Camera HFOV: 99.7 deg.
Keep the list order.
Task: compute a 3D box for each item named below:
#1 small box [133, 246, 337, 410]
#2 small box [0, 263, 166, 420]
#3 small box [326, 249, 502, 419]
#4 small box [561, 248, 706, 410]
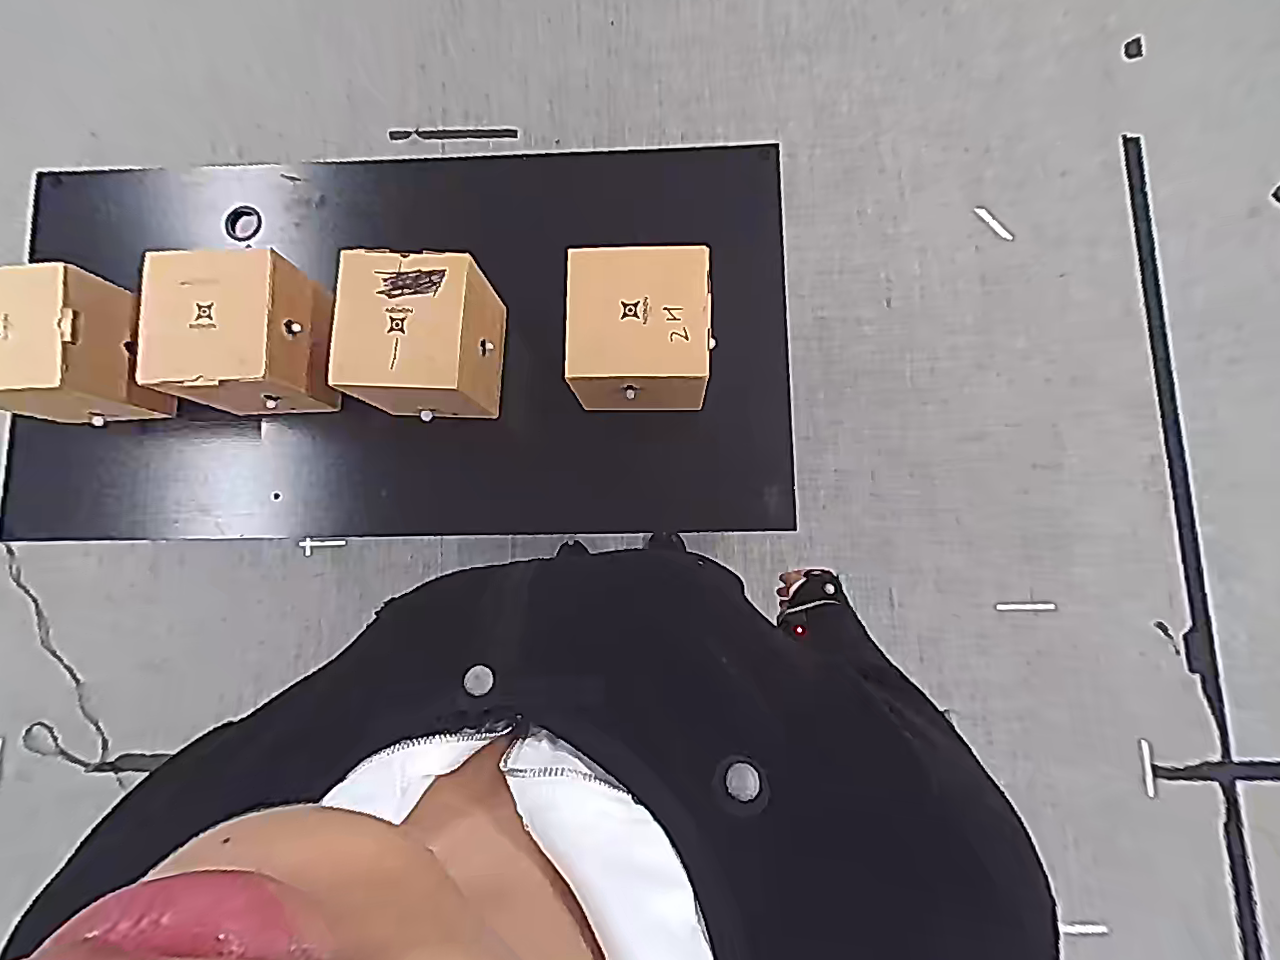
[{"bbox_3d":[-0.544,-0.198,0.753,0.168,0.176,0.179,-2,83,0],"label":"small box"},{"bbox_3d":[-0.806,-0.183,0.756,0.179,0.176,0.168,-3,83,0],"label":"small box"},{"bbox_3d":[-0.294,-0.191,0.744,0.168,0.176,0.179,3,84,2],"label":"small box"},{"bbox_3d":[-0.003,-0.194,0.735,0.179,0.176,0.168,1,84,2],"label":"small box"}]
